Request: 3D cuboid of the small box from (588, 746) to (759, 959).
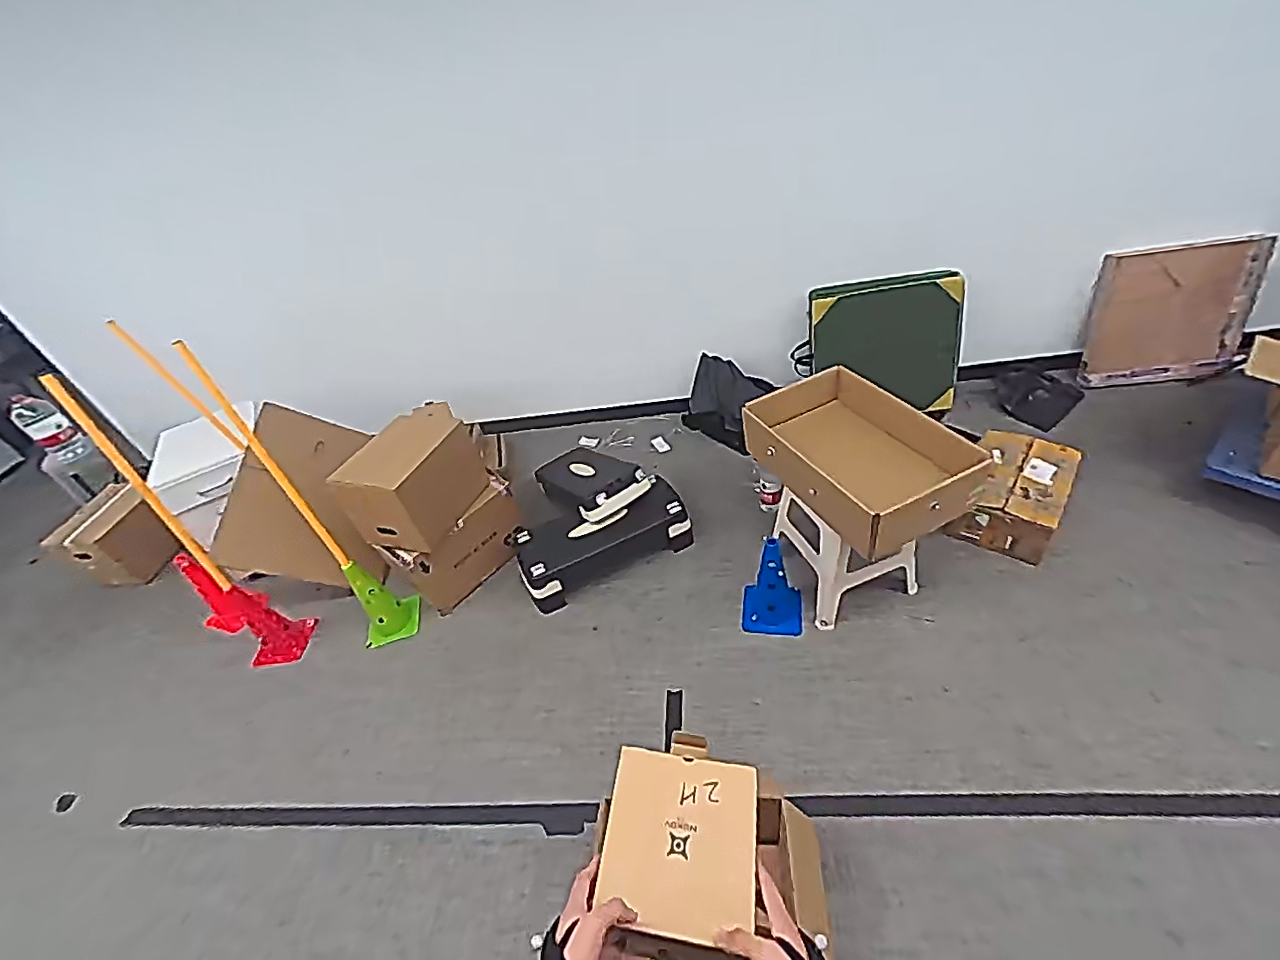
[{"bbox_3d":[0.045,0.450,0.638,0.168,0.176,0.179,7,42,8],"label":"small box"}]
